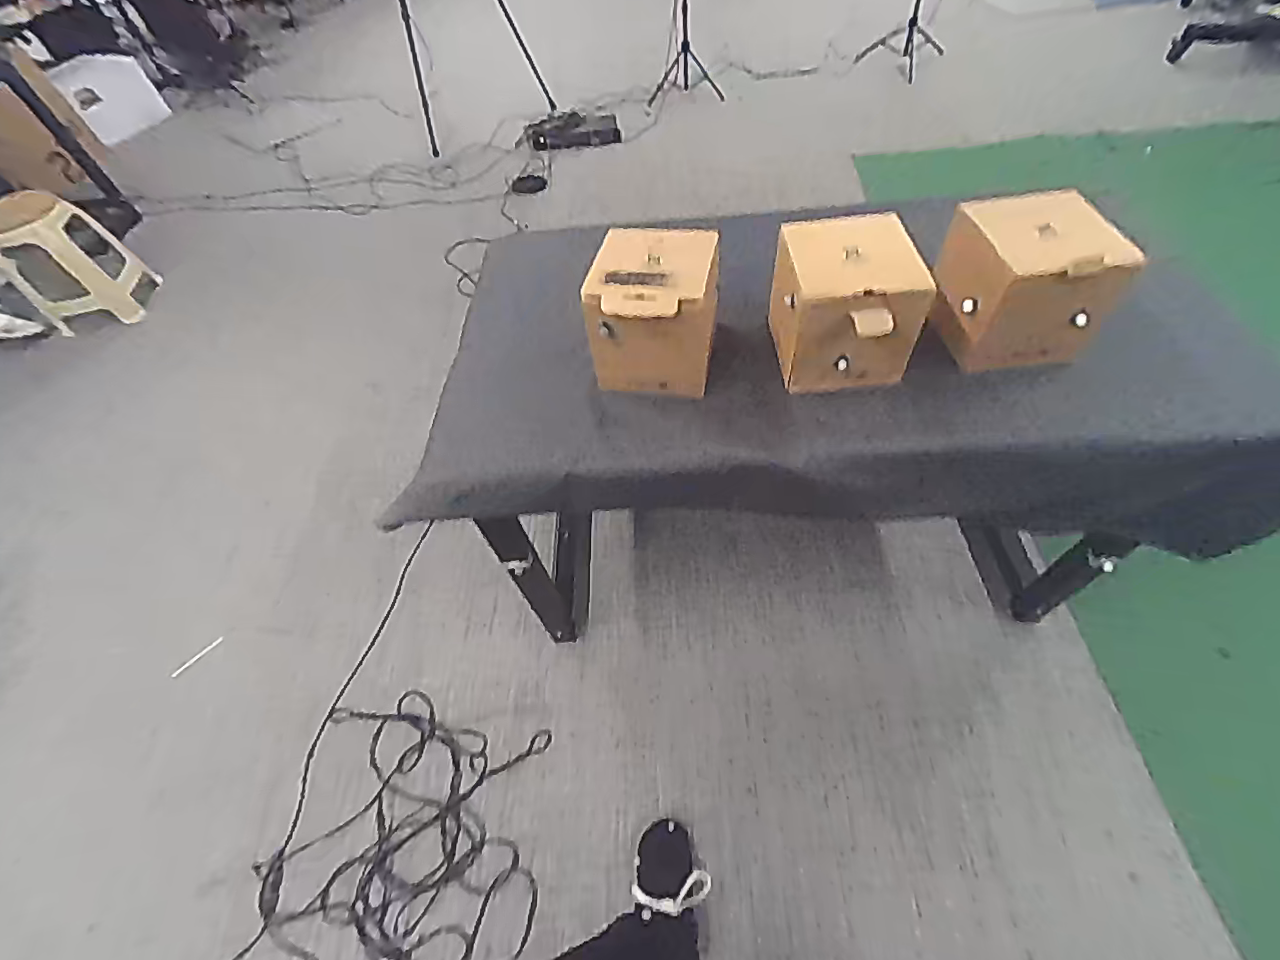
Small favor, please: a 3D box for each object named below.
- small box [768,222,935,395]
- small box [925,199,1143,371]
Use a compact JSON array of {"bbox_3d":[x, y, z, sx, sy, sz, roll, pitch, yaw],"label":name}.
[{"bbox_3d":[0.288,-0.245,0.785,0.168,0.176,0.179,-4,54,2],"label":"small box"},{"bbox_3d":[0.538,-0.272,0.778,0.168,0.176,0.179,-6,52,0],"label":"small box"}]
